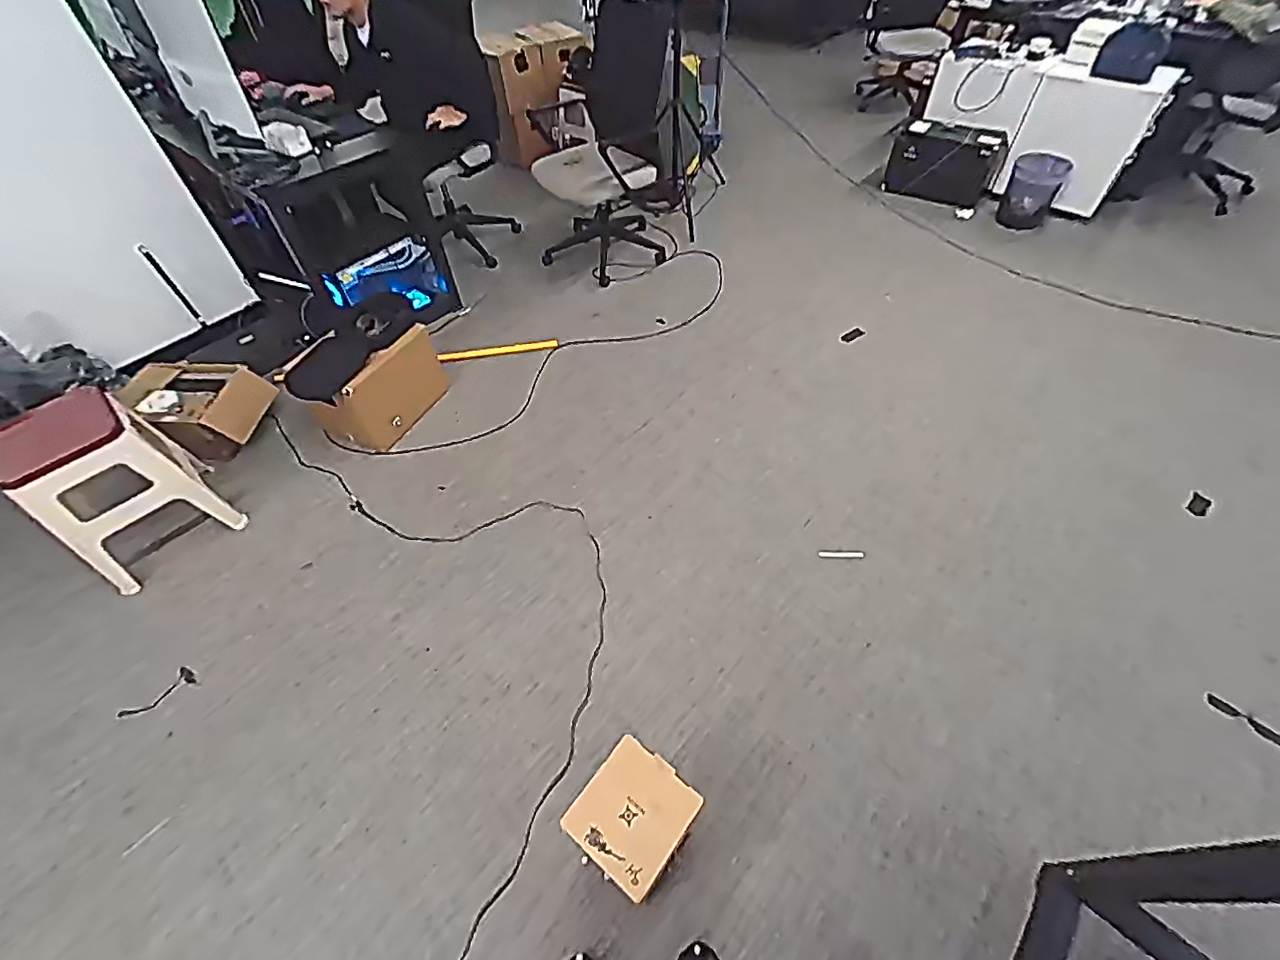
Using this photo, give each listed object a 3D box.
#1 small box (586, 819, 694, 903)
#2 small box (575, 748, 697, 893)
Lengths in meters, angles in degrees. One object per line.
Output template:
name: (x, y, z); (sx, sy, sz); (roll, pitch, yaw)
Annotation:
small box: (-0.001, 0.778, 1.184); (0.168, 0.176, 0.179); (31, 60, 25)
small box: (-0.004, 0.672, 1.062); (0.168, 0.176, 0.179); (29, 56, 22)
